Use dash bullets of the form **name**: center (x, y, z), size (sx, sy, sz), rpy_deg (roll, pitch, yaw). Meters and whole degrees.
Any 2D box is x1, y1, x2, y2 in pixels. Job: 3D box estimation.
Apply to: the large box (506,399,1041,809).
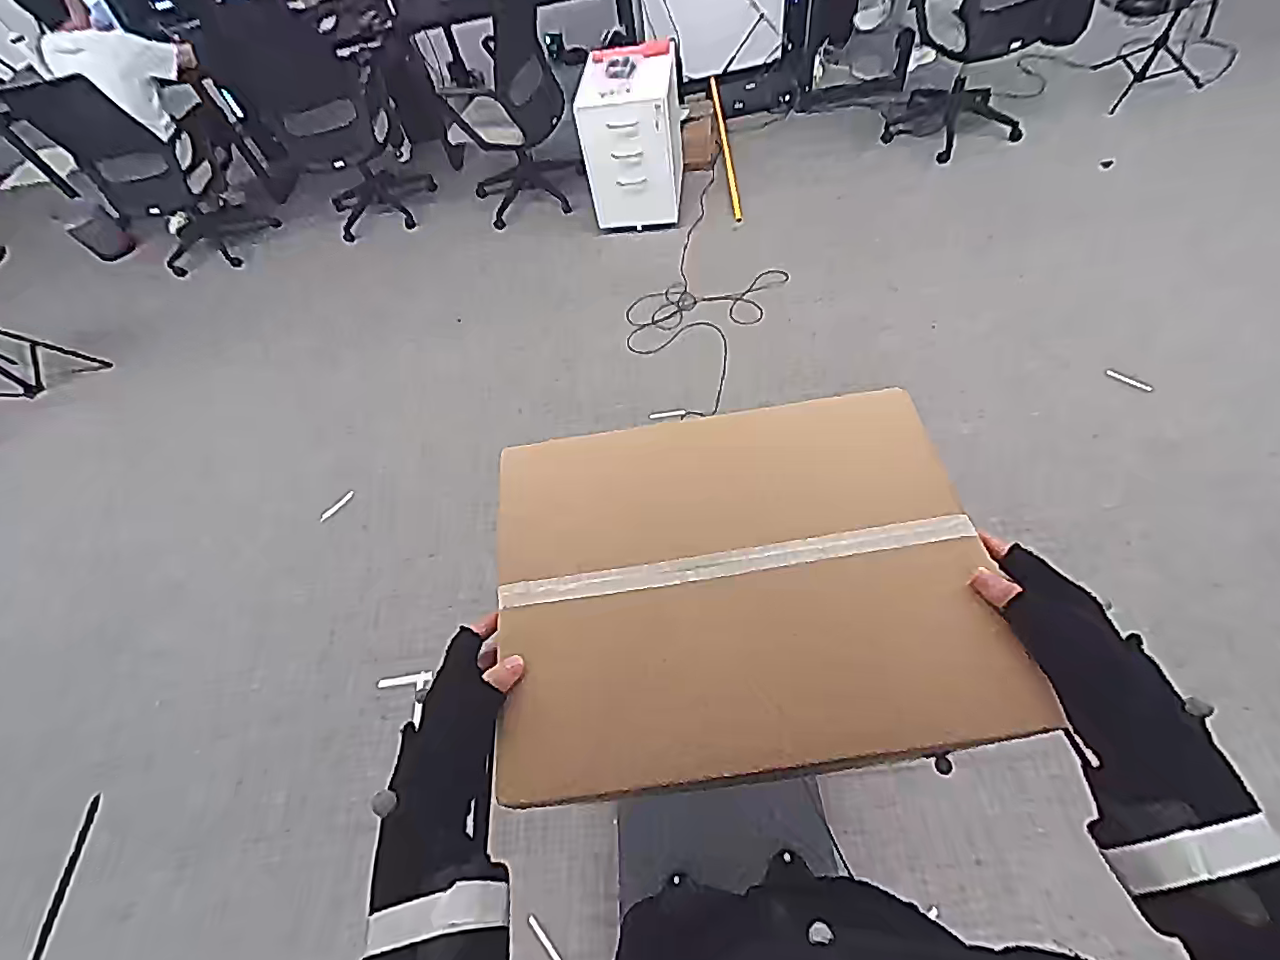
- **large box**: center (0.094, 0.152, 0.596), size (0.408, 0.320, 0.320), rpy_deg (-8, 59, 1)
